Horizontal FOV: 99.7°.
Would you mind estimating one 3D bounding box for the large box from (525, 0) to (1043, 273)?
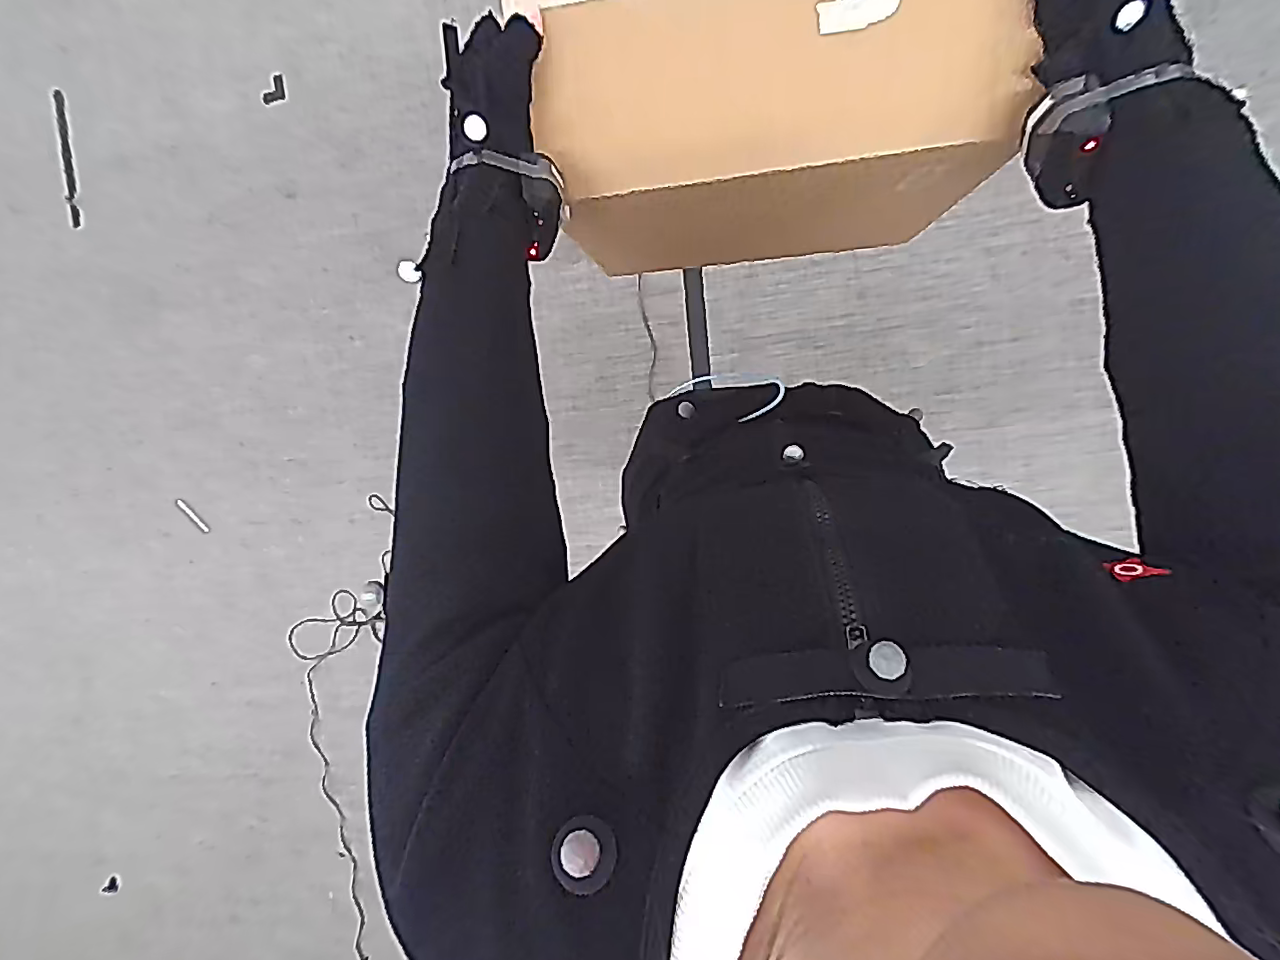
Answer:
[{"bbox_3d":[0.117,-0.432,0.568,0.408,0.320,0.320,-4,99,8],"label":"large box"}]
